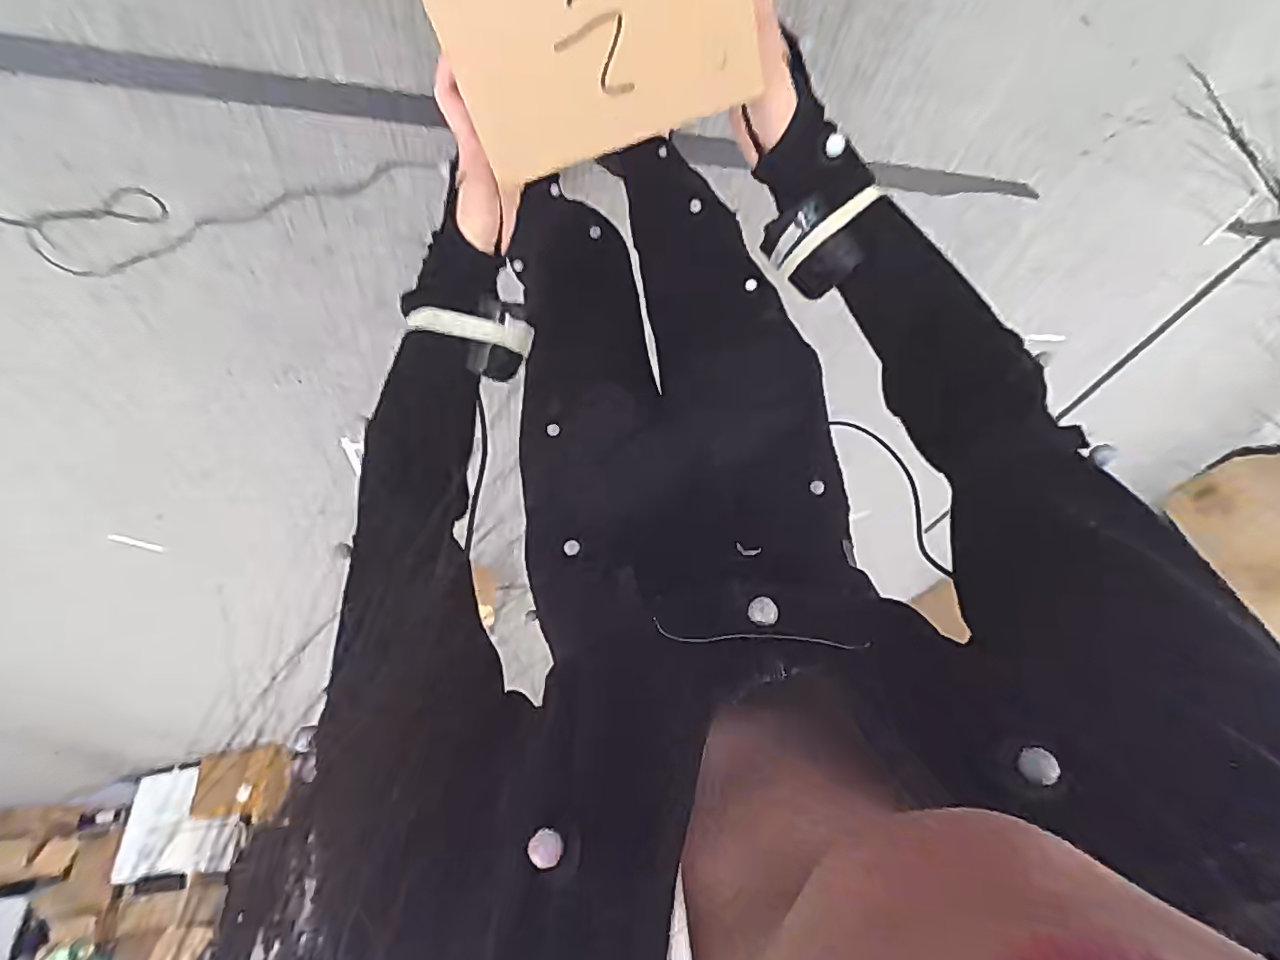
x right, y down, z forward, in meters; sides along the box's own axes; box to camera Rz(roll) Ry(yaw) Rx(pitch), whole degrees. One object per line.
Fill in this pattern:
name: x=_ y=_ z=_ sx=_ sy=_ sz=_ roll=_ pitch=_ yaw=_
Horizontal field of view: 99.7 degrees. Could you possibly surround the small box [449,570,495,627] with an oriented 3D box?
small box: x=-0.677 y=0.481 z=2.191 sx=0.168 sy=0.176 sz=0.179 roll=-3 pitch=146 yaw=-13
